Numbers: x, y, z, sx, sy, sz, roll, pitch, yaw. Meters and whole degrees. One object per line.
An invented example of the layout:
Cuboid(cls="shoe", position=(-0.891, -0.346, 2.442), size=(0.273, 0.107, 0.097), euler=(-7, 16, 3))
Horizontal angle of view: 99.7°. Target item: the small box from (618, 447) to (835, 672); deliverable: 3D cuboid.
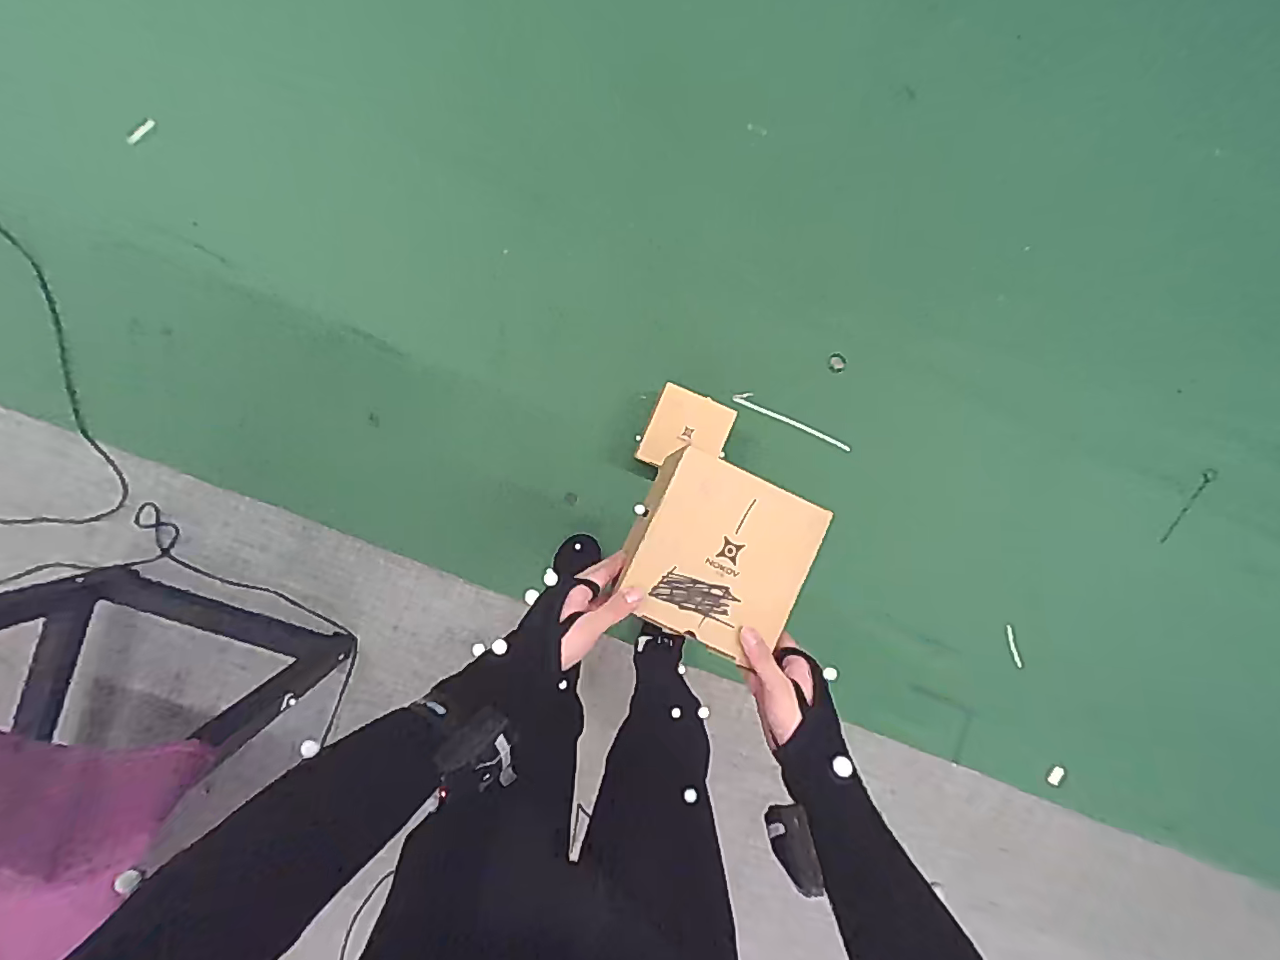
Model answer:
Cuboid(cls="small box", position=(0.083, 0.081, 0.613), size=(0.168, 0.176, 0.179), euler=(25, 85, -4))

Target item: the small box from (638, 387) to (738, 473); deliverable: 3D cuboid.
Cuboid(cls="small box", position=(0.098, -0.092, 1.224), size=(0.168, 0.176, 0.179), euler=(23, 93, -4))
